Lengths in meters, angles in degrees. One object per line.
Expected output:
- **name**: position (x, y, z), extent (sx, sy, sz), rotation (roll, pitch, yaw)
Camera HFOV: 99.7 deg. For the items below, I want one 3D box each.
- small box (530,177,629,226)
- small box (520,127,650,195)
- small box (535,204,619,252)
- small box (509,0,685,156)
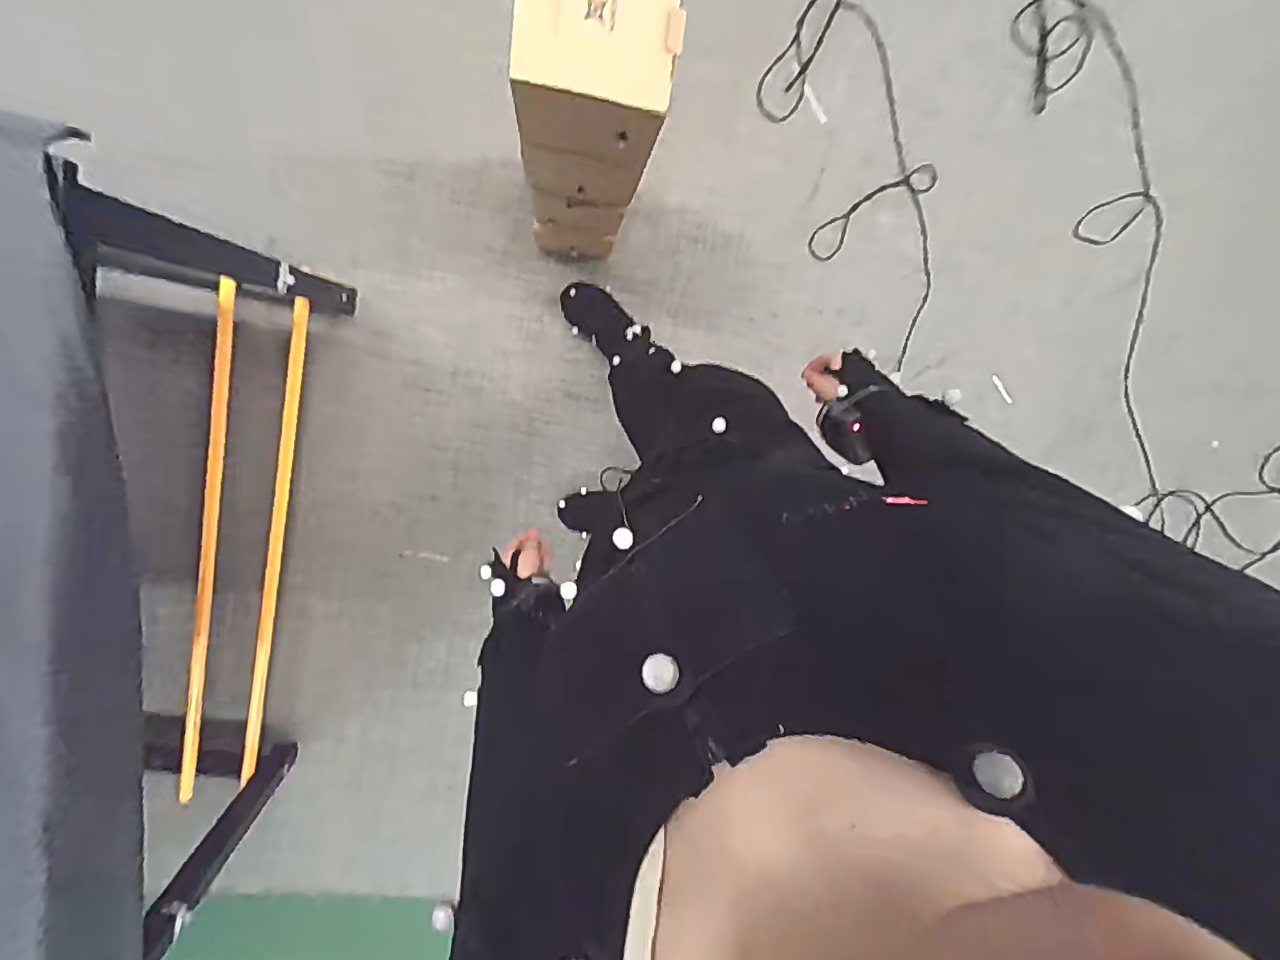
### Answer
- **small box**: position (-0.099, -0.570, 0.957), extent (0.168, 0.176, 0.179), rotation (6, 100, -9)
- **small box**: position (-0.077, -0.541, 0.798), extent (0.179, 0.176, 0.168), rotation (6, 101, -10)
- **small box**: position (-0.124, -0.592, 1.117), extent (0.168, 0.176, 0.179), rotation (5, 101, -8)
- **small box**: position (-0.052, -0.510, 0.639), extent (0.179, 0.176, 0.168), rotation (6, 100, -9)
